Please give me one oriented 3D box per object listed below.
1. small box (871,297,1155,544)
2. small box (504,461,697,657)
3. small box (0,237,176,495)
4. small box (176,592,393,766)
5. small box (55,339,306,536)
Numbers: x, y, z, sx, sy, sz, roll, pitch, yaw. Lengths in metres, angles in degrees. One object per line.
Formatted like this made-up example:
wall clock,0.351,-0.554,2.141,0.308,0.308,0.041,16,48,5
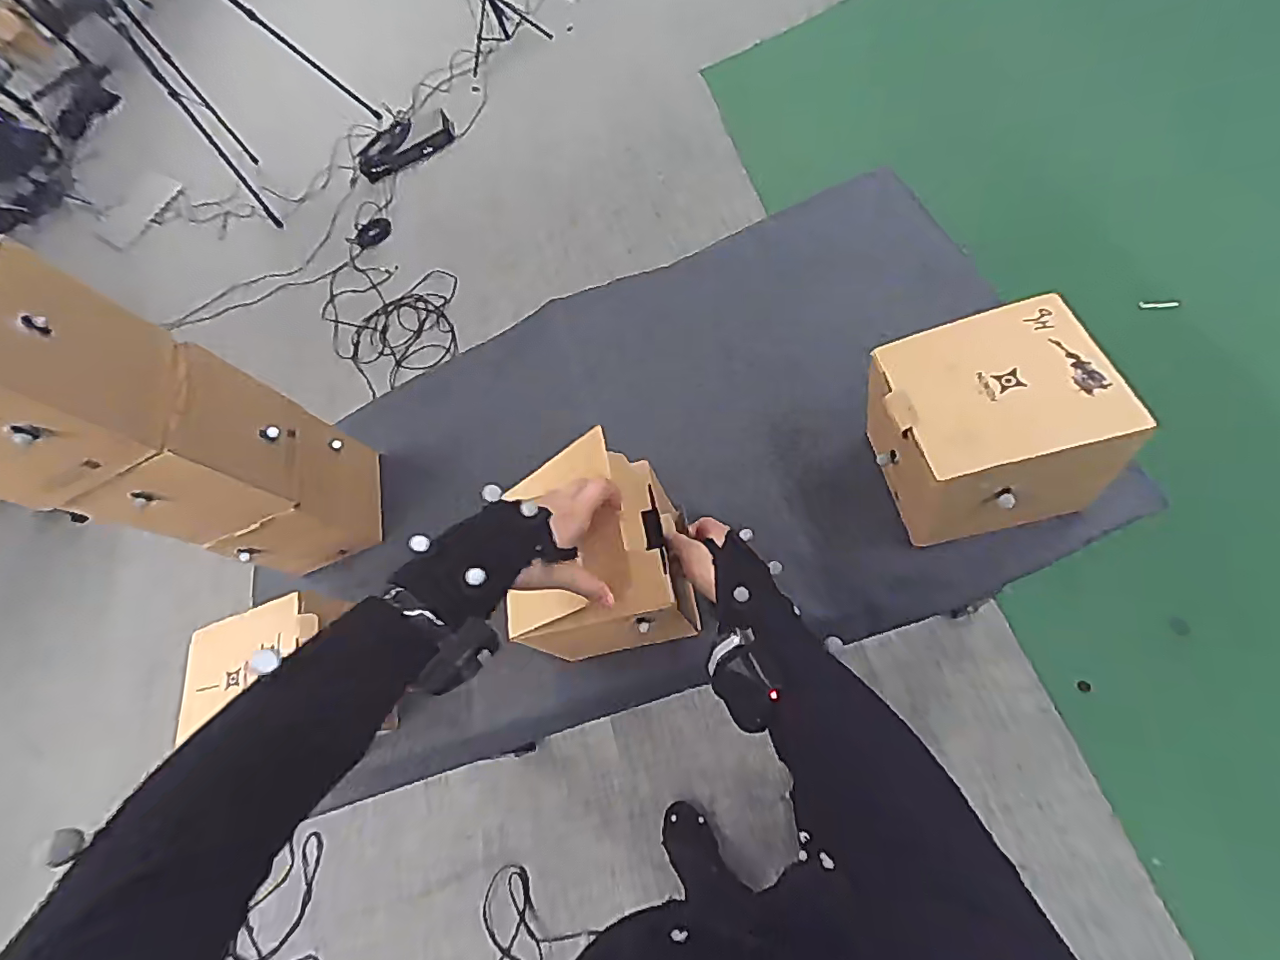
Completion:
small box,0.356,-0.048,0.562,0.179,0.176,0.168,-16,59,13
small box,-0.042,0.103,0.638,0.179,0.176,0.168,-14,63,8
small box,-0.632,-0.102,0.561,0.168,0.176,0.179,-24,61,7
small box,-0.450,0.262,0.714,0.179,0.176,0.168,-20,63,11
small box,-0.577,-0.043,0.702,0.179,0.176,0.168,-20,64,9
